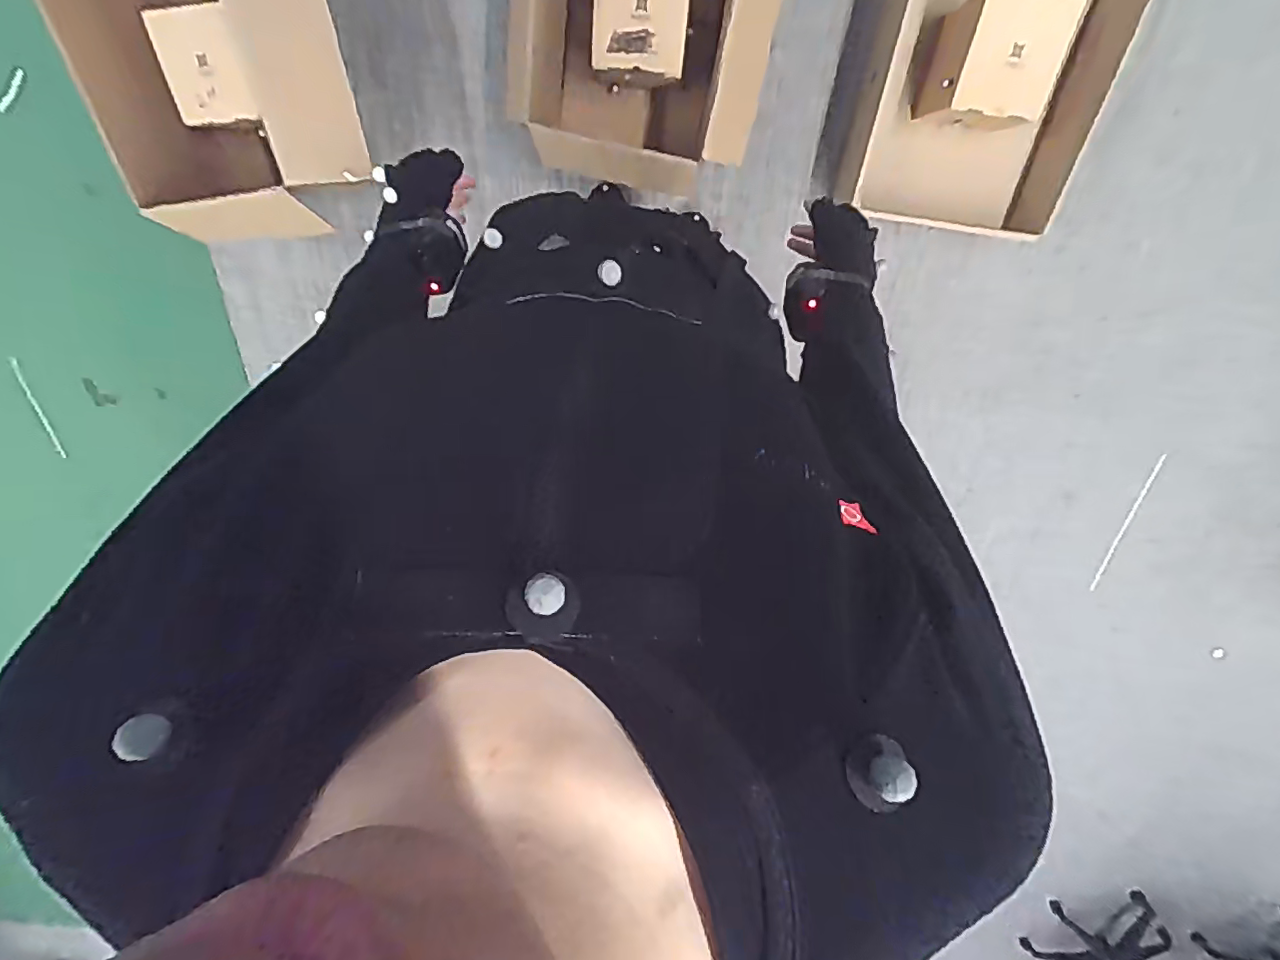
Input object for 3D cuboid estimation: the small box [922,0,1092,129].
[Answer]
[{"bbox_3d":[0.649,-0.761,0.985,0.168,0.176,0.179,7,118,-1],"label":"small box"}]
